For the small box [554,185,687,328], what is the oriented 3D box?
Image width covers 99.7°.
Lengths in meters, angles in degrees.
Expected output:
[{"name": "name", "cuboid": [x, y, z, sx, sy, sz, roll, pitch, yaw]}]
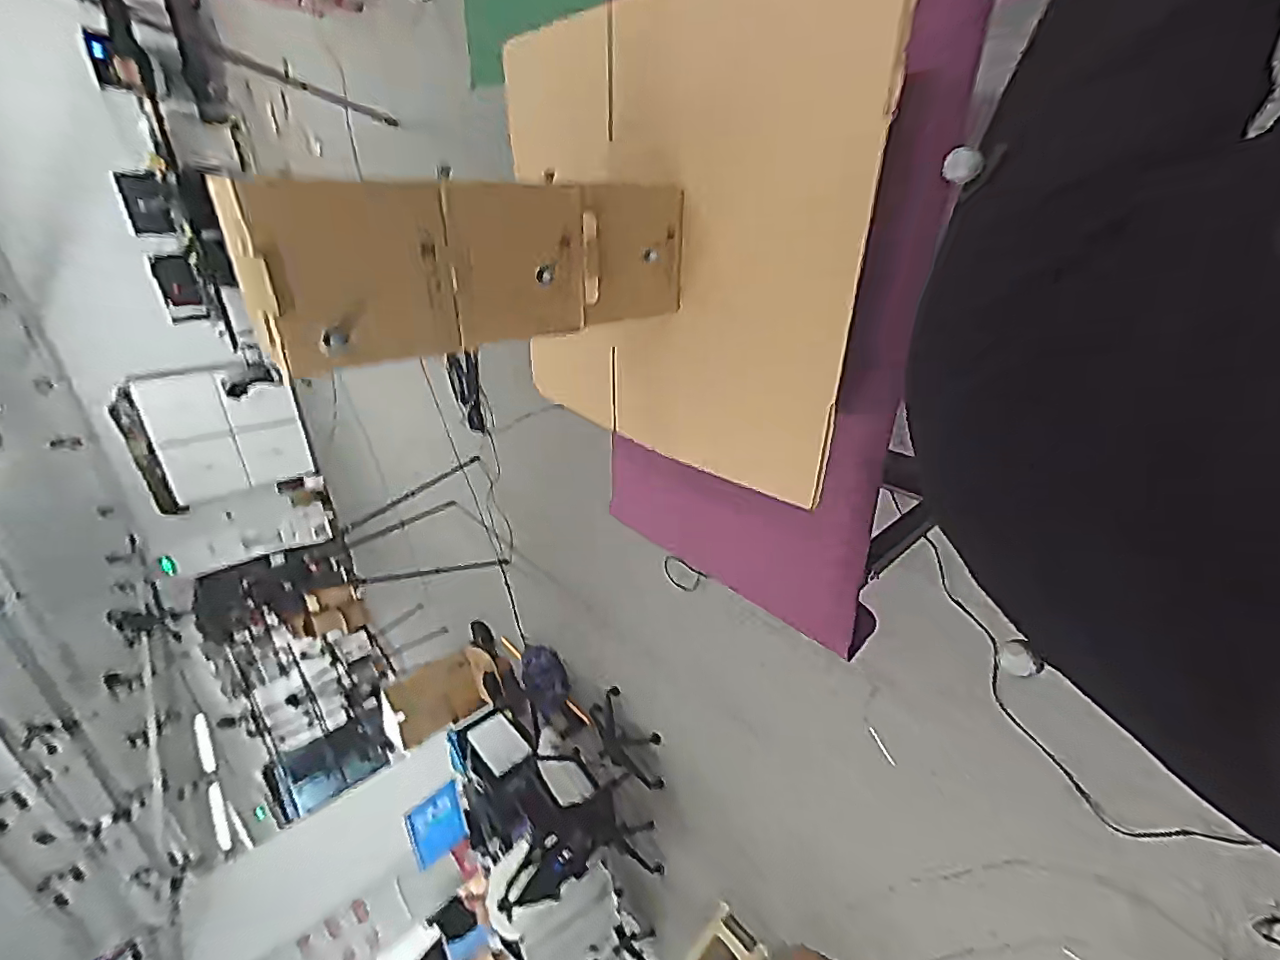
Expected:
[{"name": "small box", "cuboid": [-0.057, -0.319, 0.763, 0.179, 0.176, 0.168, 28, 128, 42]}]

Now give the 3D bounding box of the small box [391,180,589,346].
[{"name": "small box", "cuboid": [-0.180, -0.271, 0.667, 0.179, 0.176, 0.168, 28, 127, 42]}]
